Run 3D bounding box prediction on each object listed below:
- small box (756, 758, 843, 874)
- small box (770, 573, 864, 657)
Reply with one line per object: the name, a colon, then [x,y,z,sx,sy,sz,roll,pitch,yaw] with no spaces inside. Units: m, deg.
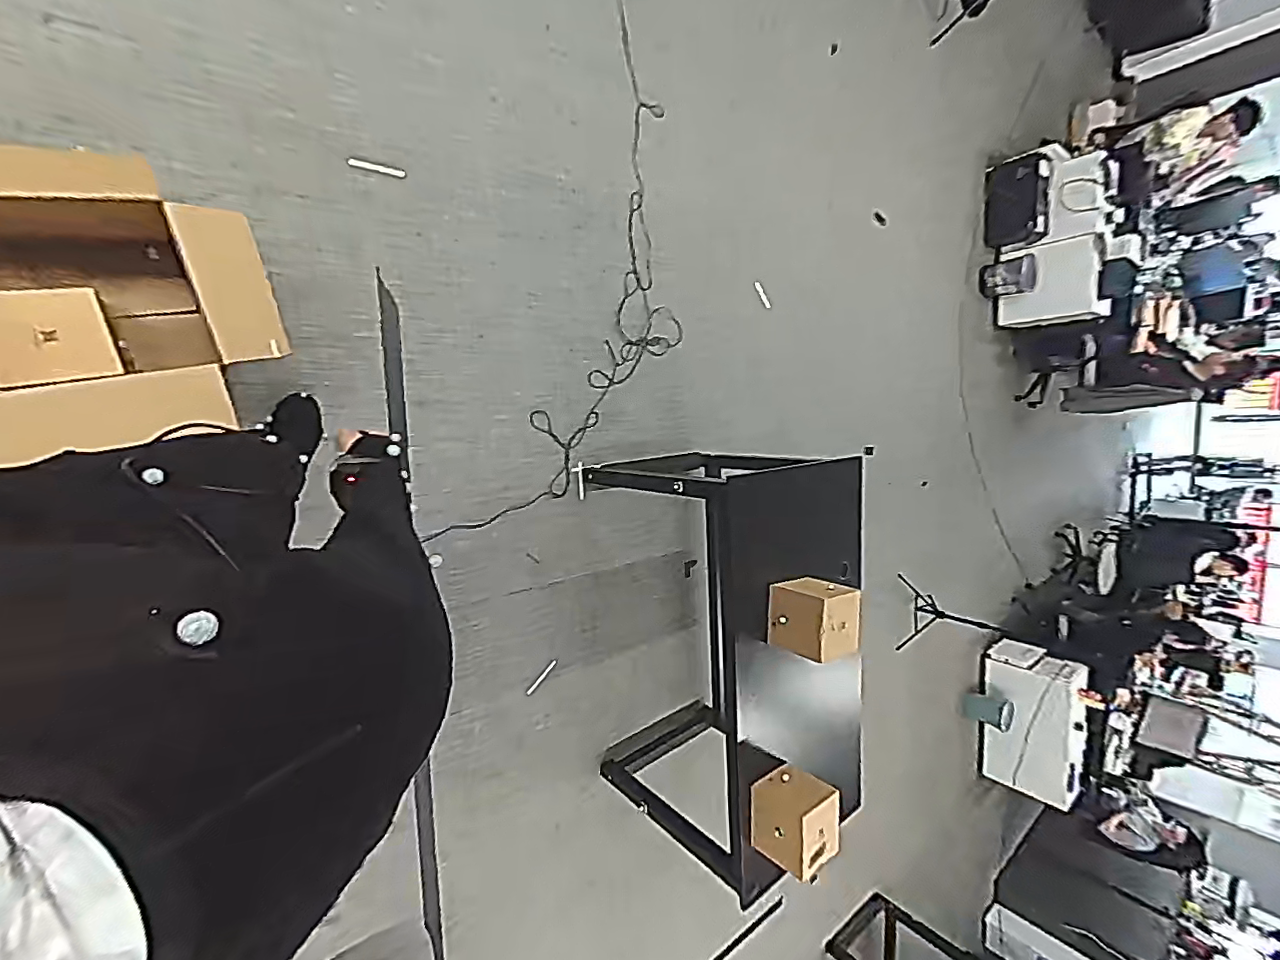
small box: [0.426,0.894,1.456,0.168,0.176,0.179,-6,96,-38]
small box: [0.474,0.352,1.448,0.179,0.176,0.168,-1,94,-38]
